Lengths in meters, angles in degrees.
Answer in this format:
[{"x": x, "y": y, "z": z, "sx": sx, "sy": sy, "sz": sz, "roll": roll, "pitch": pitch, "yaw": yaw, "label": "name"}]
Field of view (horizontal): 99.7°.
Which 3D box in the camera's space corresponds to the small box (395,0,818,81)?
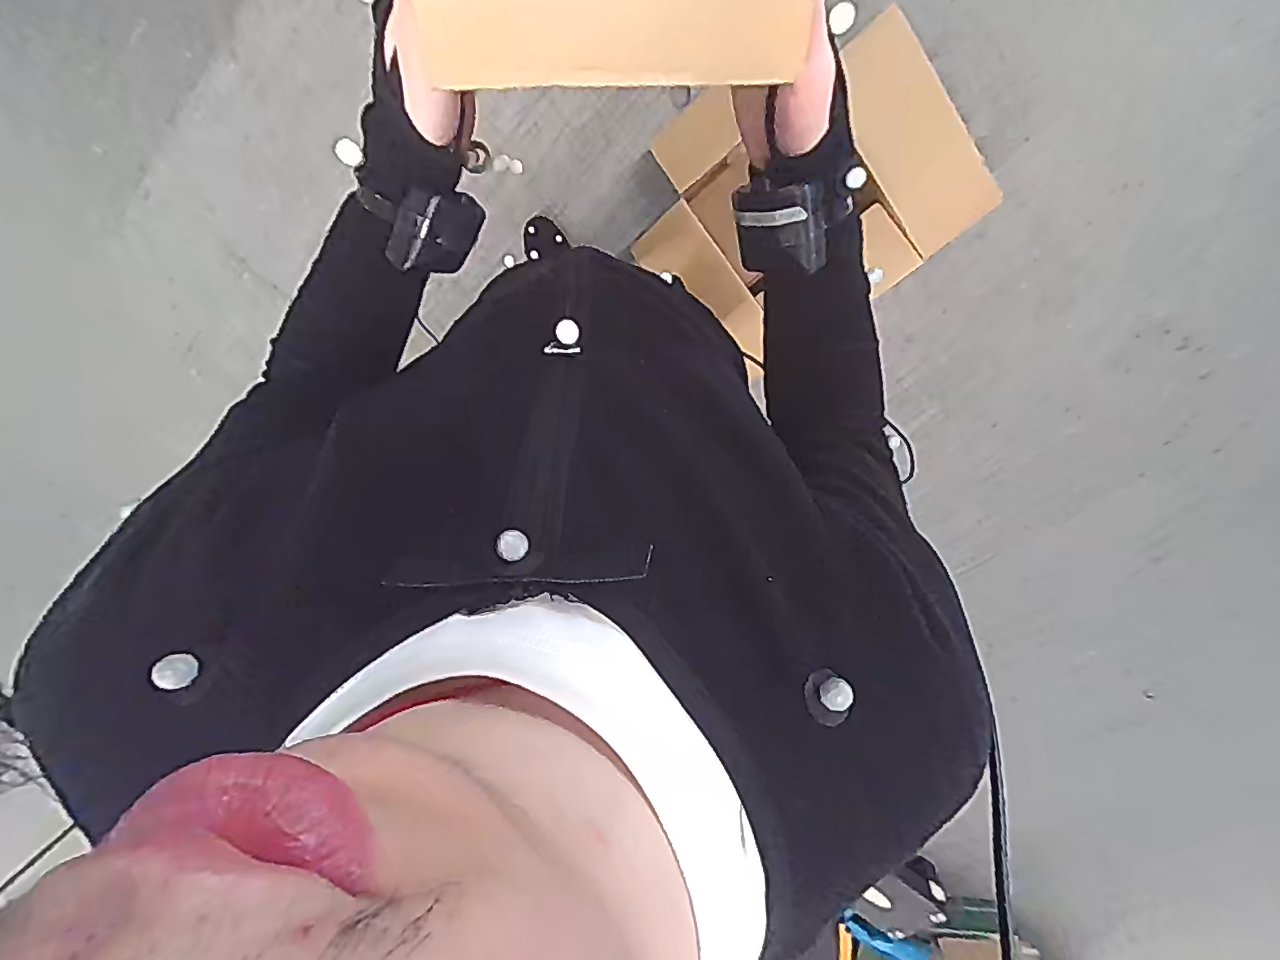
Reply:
[{"x": -0.022, "y": -0.289, "z": 0.242, "sx": 0.179, "sy": 0.176, "sz": 0.168, "roll": -6, "pitch": 130, "yaw": -6, "label": "small box"}]
